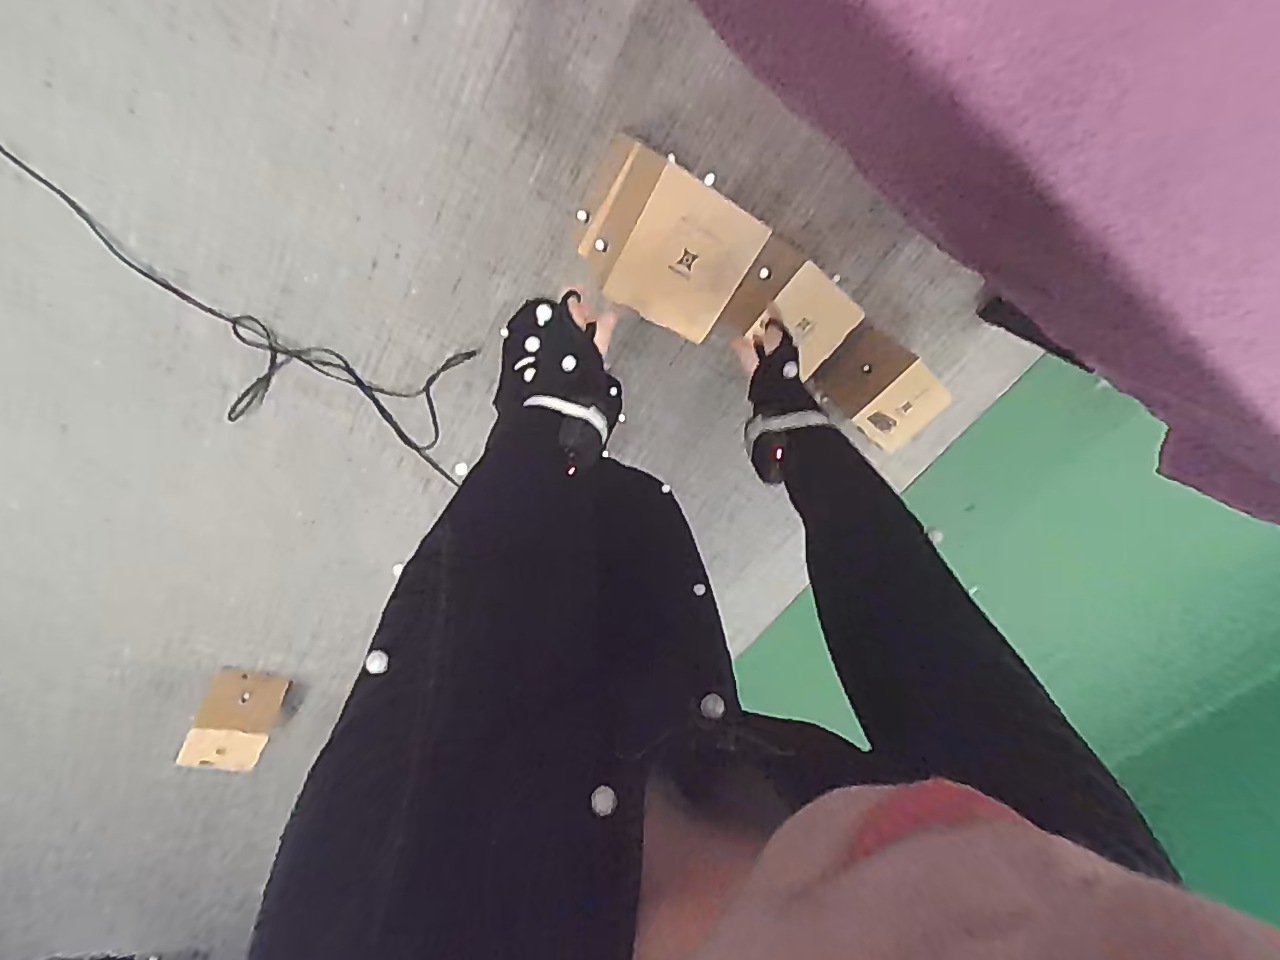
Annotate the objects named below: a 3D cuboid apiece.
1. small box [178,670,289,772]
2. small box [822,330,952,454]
[{"bbox_3d":[-1.040,0.619,1.397,0.168,0.176,0.179,25,116,-28],"label":"small box"},{"bbox_3d":[0.531,-0.196,1.194,0.168,0.176,0.179,31,113,-31],"label":"small box"}]
